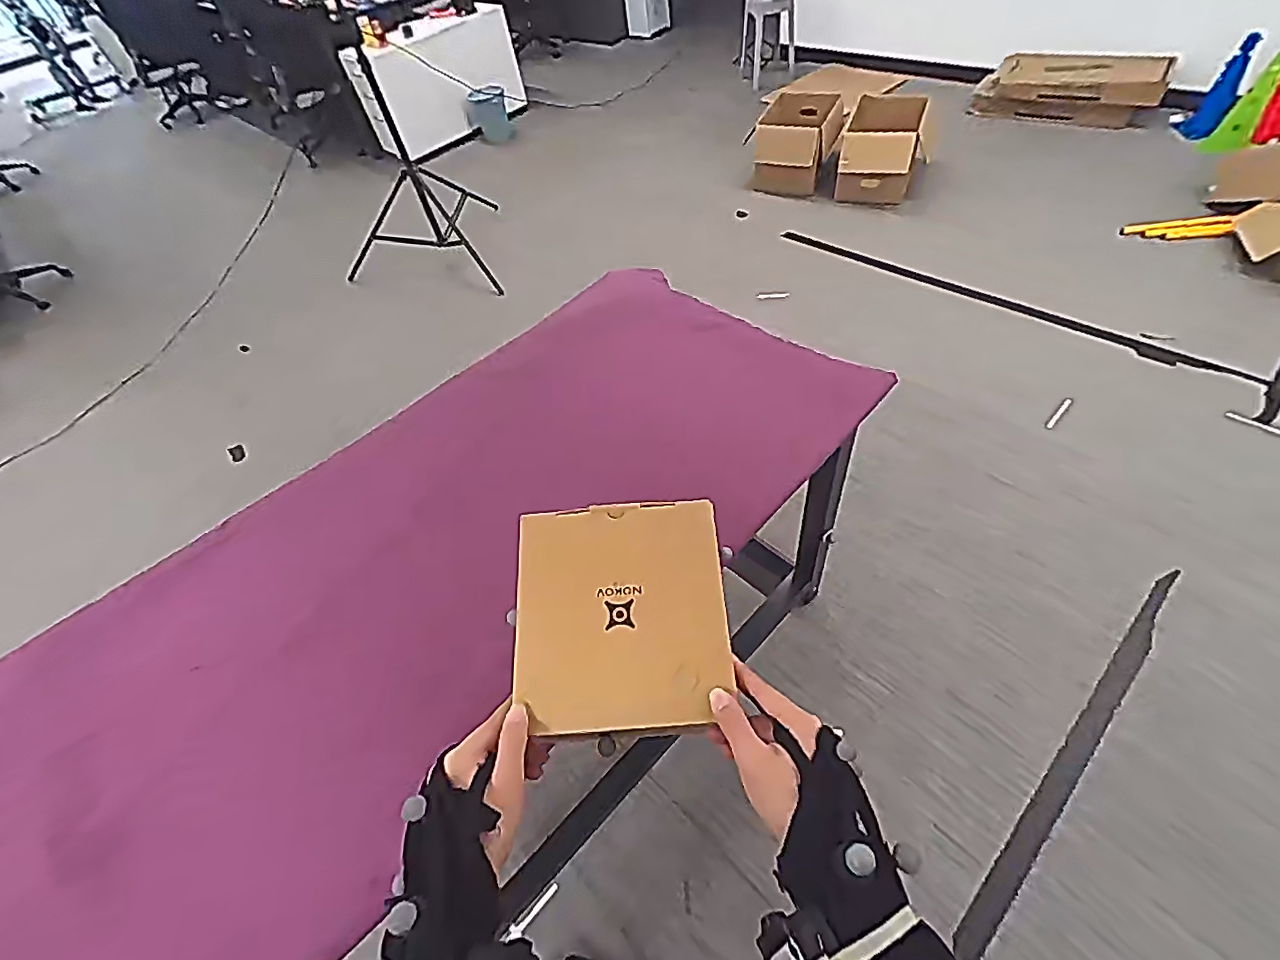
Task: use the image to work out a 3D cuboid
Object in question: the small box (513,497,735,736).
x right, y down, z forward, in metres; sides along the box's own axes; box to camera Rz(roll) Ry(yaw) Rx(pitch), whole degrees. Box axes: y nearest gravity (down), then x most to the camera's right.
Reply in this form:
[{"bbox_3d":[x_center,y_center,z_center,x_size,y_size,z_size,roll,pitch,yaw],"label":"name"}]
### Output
[{"bbox_3d":[-0.009,0.134,0.494,0.168,0.176,0.179,-5,62,2],"label":"small box"}]
